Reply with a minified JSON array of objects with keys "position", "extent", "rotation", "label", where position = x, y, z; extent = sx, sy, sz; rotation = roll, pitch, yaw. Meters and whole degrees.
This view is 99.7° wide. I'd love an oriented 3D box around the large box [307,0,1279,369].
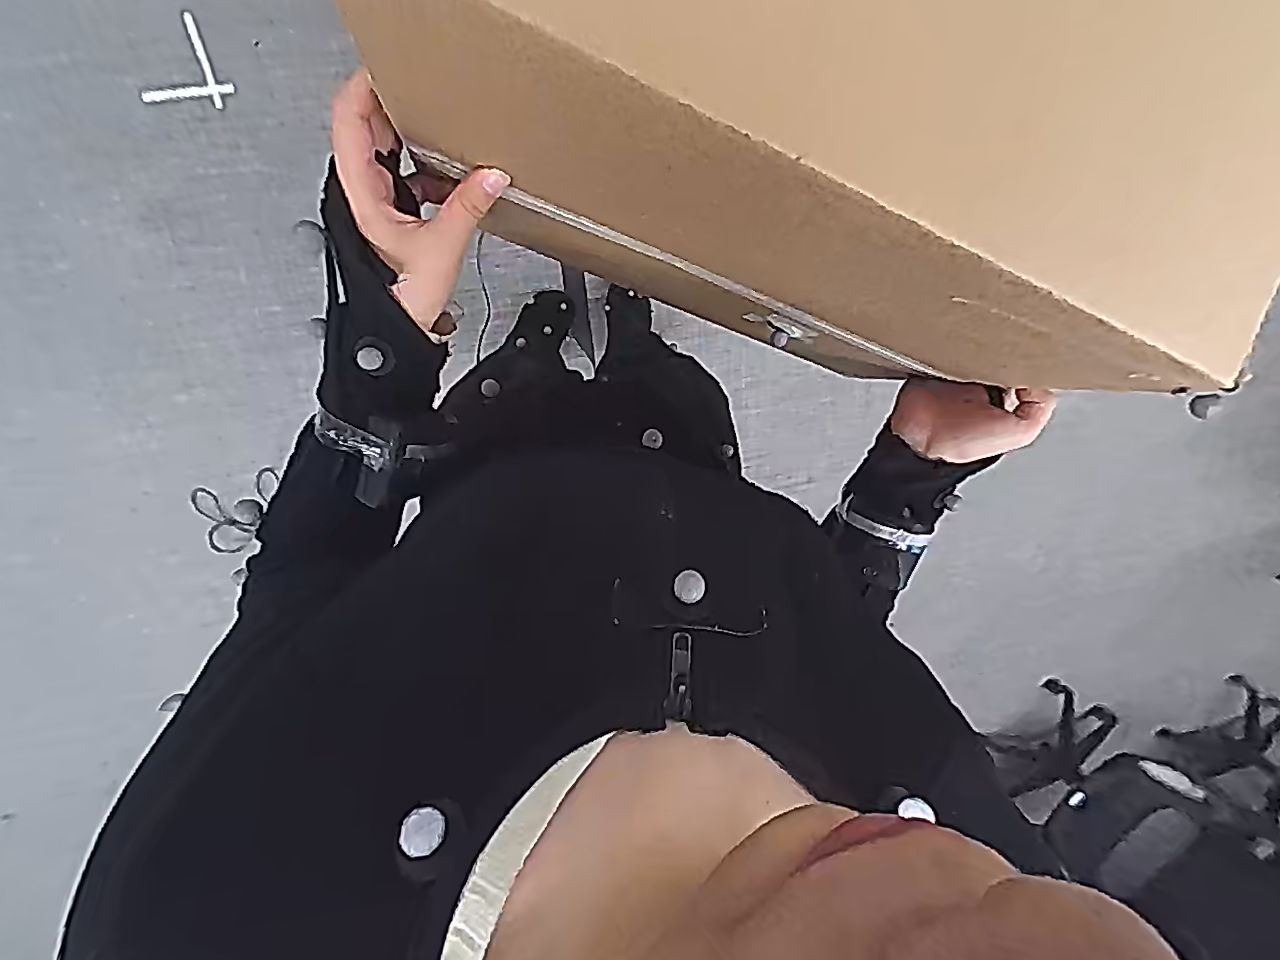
[{"position":[0.091,-0.276,0.314],"extent":[0.408,0.320,0.320],"rotation":[14,100,-16],"label":"large box"}]
